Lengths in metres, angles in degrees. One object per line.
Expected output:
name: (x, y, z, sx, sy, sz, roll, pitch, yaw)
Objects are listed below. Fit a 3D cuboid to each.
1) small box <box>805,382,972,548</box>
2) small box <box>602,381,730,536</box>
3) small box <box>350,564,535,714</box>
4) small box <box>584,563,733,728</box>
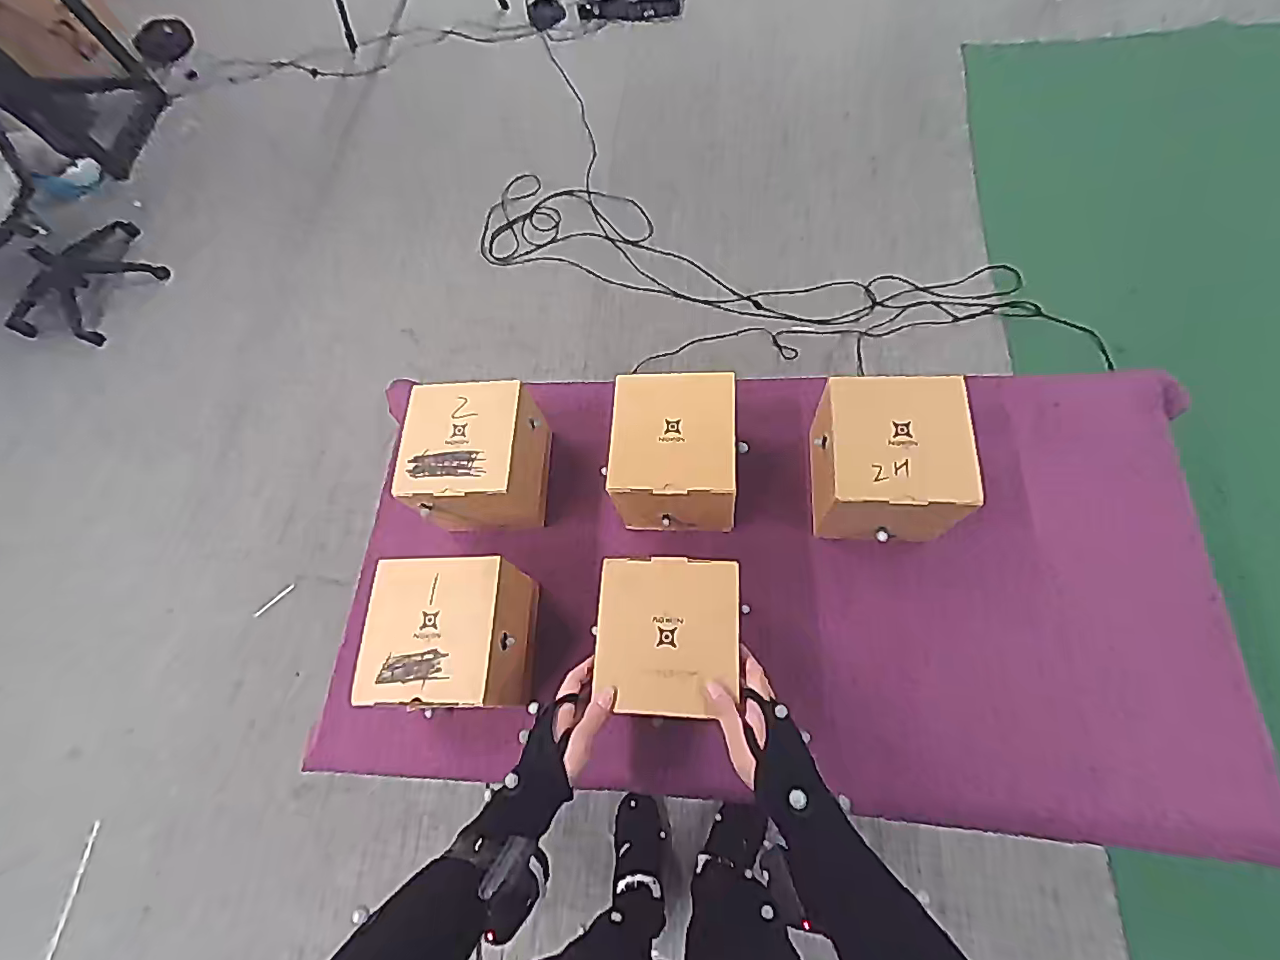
small box: (0.323, -0.017, 0.742, 0.168, 0.176, 0.179, 1, 68, 10)
small box: (0.047, -0.026, 0.792, 0.168, 0.176, 0.179, 0, 69, 9)
small box: (-0.250, 0.221, 0.731, 0.168, 0.176, 0.179, -3, 65, 7)
small box: (0.034, 0.214, 0.694, 0.168, 0.176, 0.179, 0, 68, 9)
